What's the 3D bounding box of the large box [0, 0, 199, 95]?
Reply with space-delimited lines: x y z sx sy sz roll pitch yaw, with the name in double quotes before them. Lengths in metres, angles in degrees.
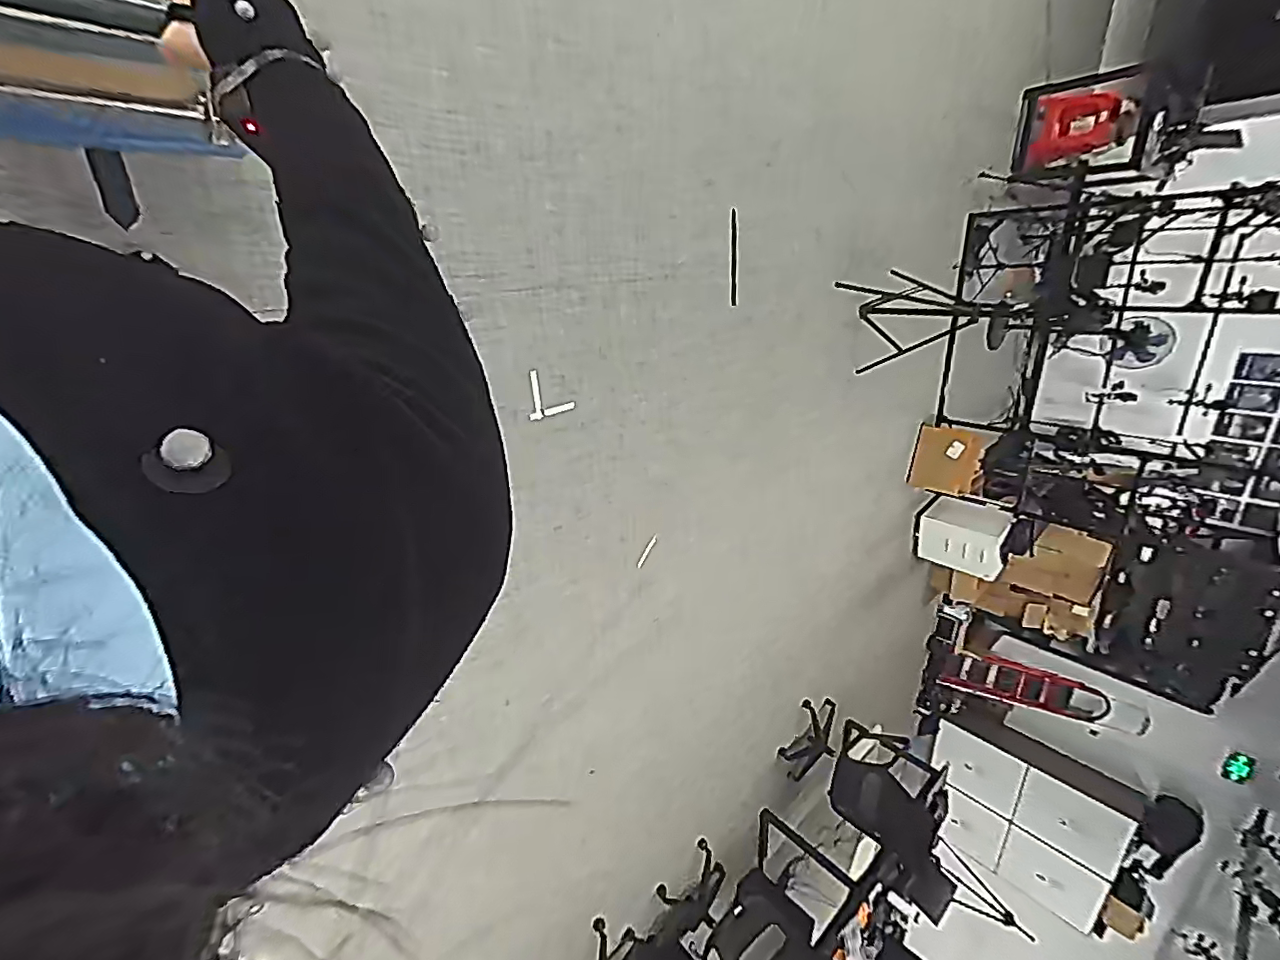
"large box" -0.846 -0.716 0.654 0.408 0.320 0.320 -20 118 -40
